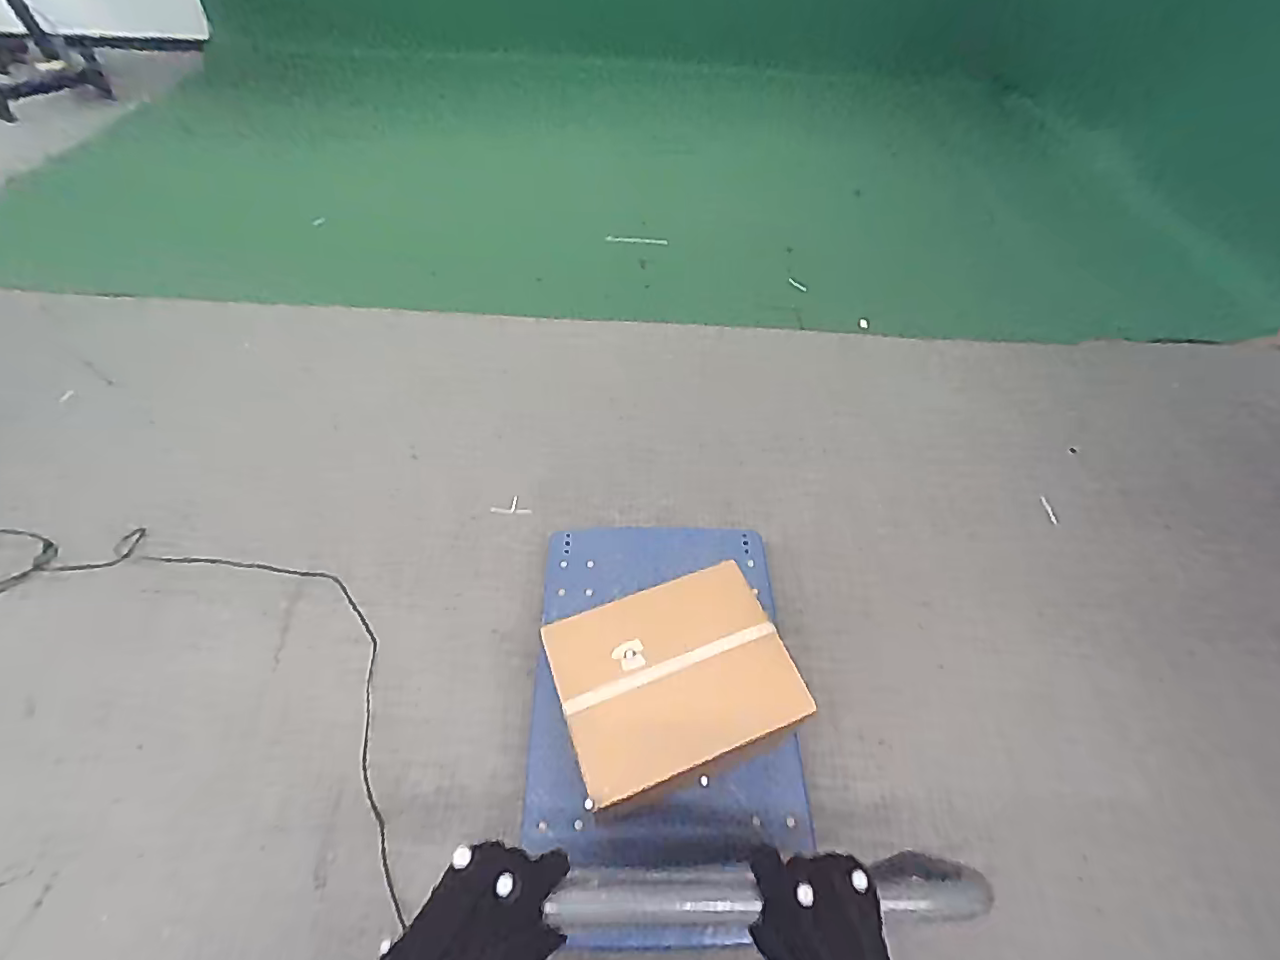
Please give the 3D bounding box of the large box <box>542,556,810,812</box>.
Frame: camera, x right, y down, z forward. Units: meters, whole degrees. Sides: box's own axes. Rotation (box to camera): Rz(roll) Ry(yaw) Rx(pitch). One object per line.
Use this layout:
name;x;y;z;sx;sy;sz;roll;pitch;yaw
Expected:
large box;0.055;0.409;1.082;0.408;0.320;0.320;-17;56;-13
